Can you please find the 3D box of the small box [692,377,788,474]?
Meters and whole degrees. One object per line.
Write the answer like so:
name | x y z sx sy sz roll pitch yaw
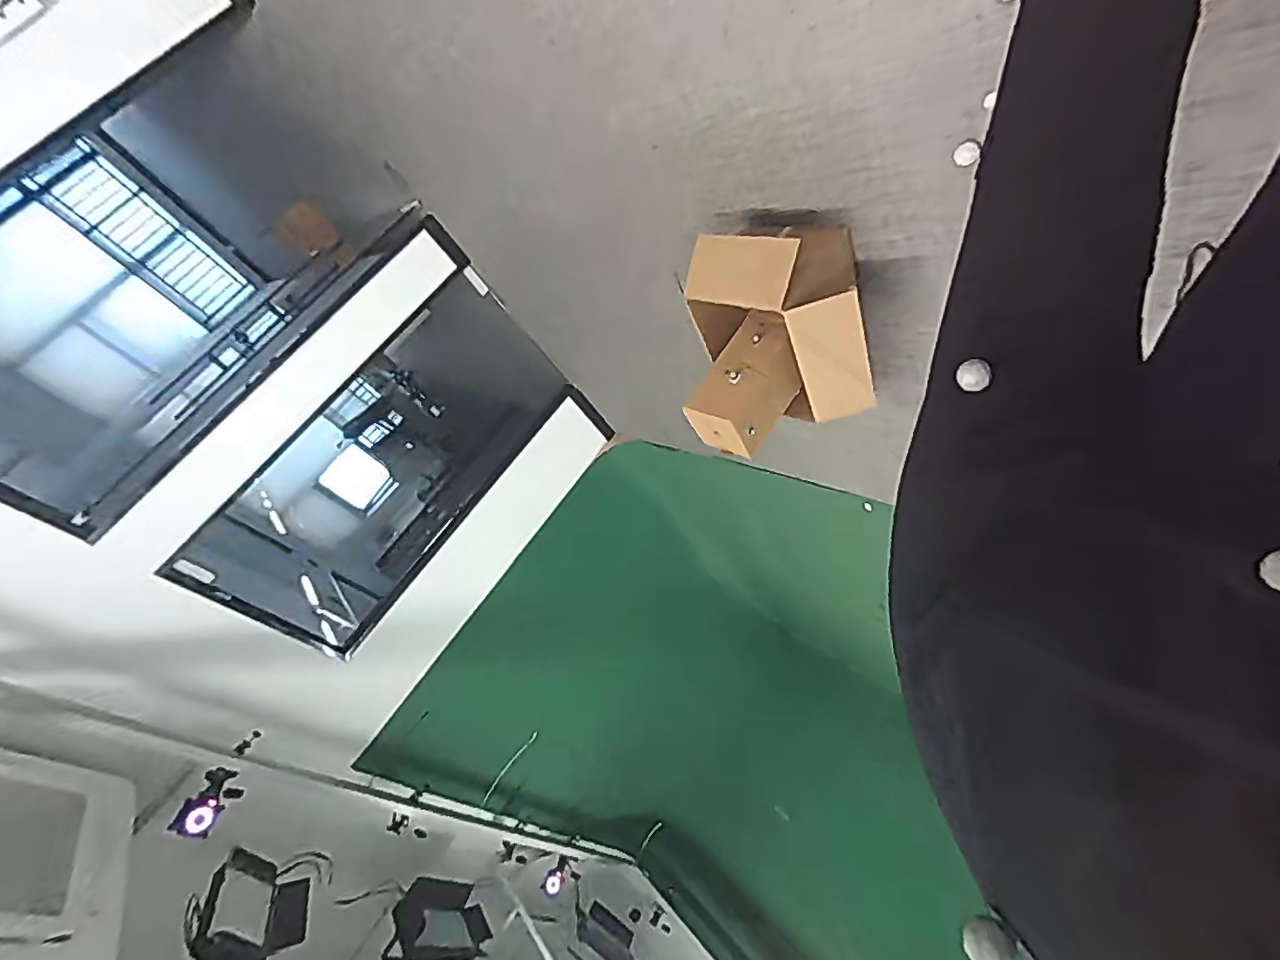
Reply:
small box | 0.276 -0.149 1.454 0.168 0.176 0.179 22 160 42
